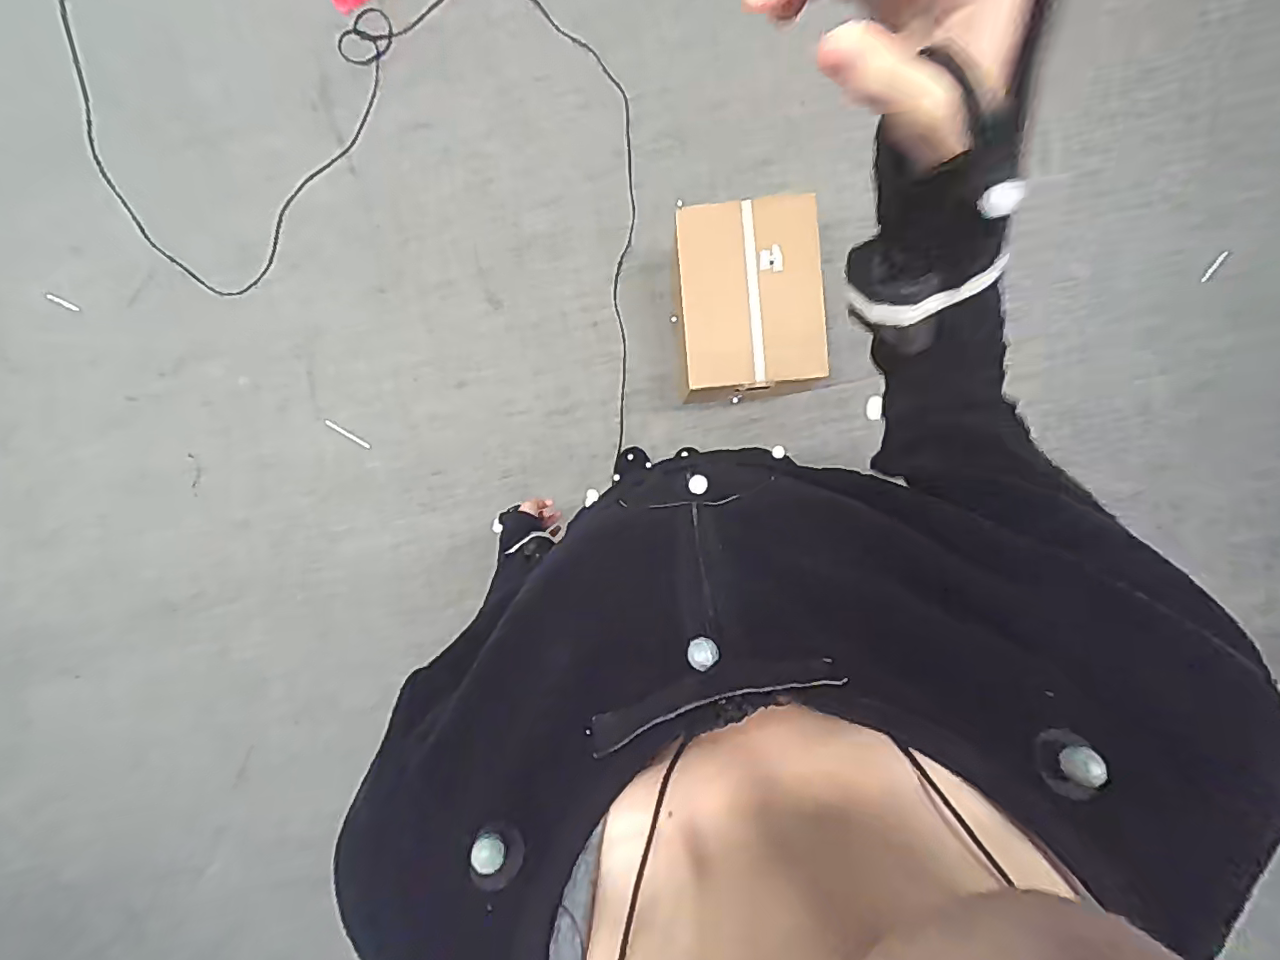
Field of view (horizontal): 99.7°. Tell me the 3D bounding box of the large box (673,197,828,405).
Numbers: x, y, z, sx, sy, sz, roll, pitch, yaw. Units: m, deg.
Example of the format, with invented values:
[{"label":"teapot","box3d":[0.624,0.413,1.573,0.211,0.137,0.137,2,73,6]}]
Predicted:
[{"label":"large box","box3d":[0.252,-0.416,1.346,0.320,0.320,0.408,-5,91,1]}]
